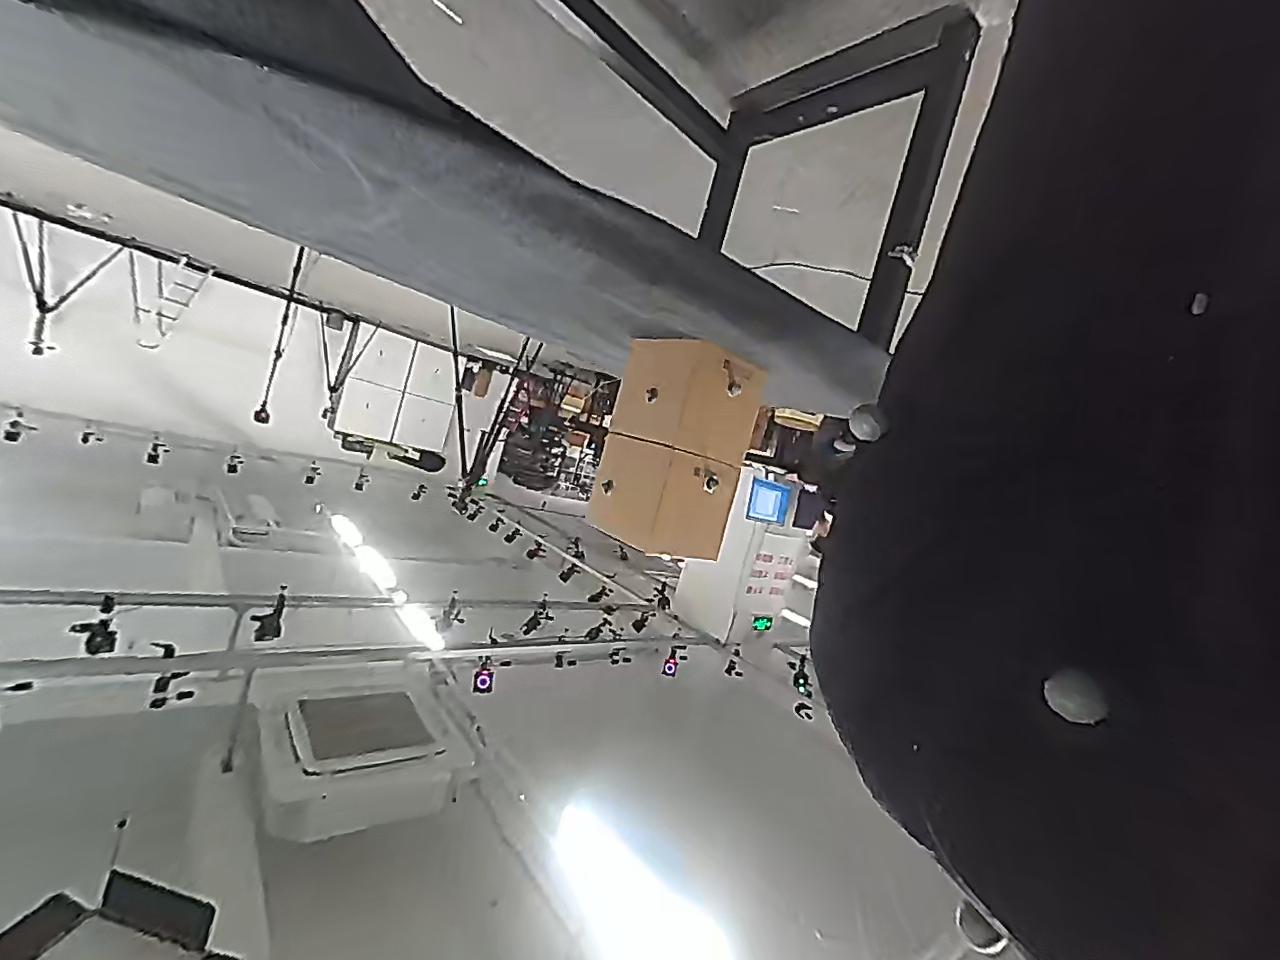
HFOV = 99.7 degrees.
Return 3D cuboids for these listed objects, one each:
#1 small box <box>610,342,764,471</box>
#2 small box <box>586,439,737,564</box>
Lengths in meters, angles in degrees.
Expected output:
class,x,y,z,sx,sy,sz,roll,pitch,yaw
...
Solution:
class,x,y,z,sx,sy,sz,roll,pitch,yaw
small box,0.080,-0.126,0.905,0.168,0.176,0.179,13,-177,-40
small box,0.038,0.031,0.912,0.168,0.176,0.179,12,-177,-39
